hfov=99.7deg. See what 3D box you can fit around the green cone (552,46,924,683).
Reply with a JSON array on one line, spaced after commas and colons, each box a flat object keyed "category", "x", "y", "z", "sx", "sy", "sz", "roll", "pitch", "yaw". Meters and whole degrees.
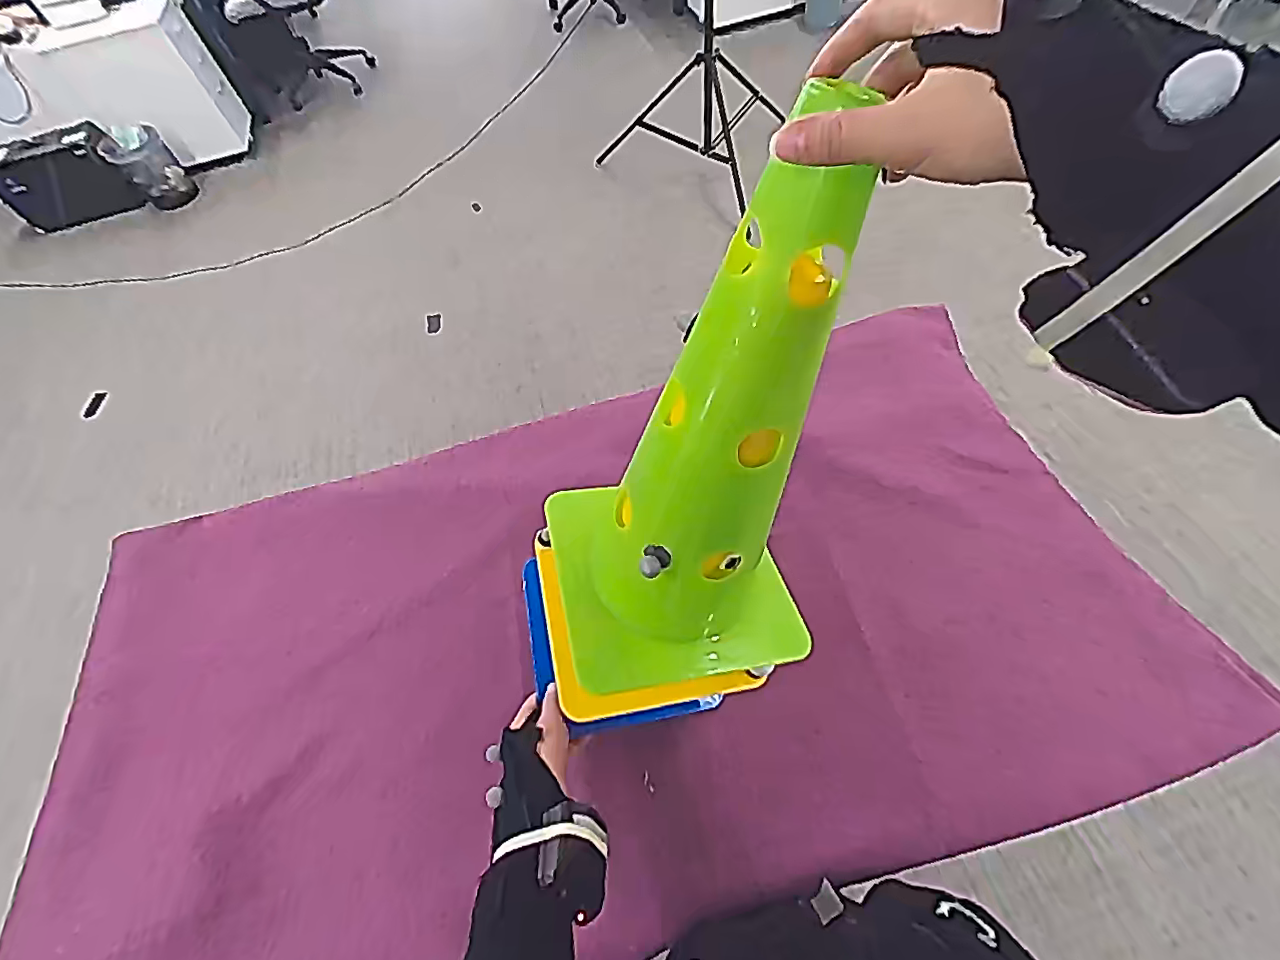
[{"category": "green cone", "x": 0.061, "y": -0.049, "z": 0.348, "sx": 0.200, "sy": 0.368, "sz": 0.202, "roll": -4, "pitch": 49, "yaw": -17}]
